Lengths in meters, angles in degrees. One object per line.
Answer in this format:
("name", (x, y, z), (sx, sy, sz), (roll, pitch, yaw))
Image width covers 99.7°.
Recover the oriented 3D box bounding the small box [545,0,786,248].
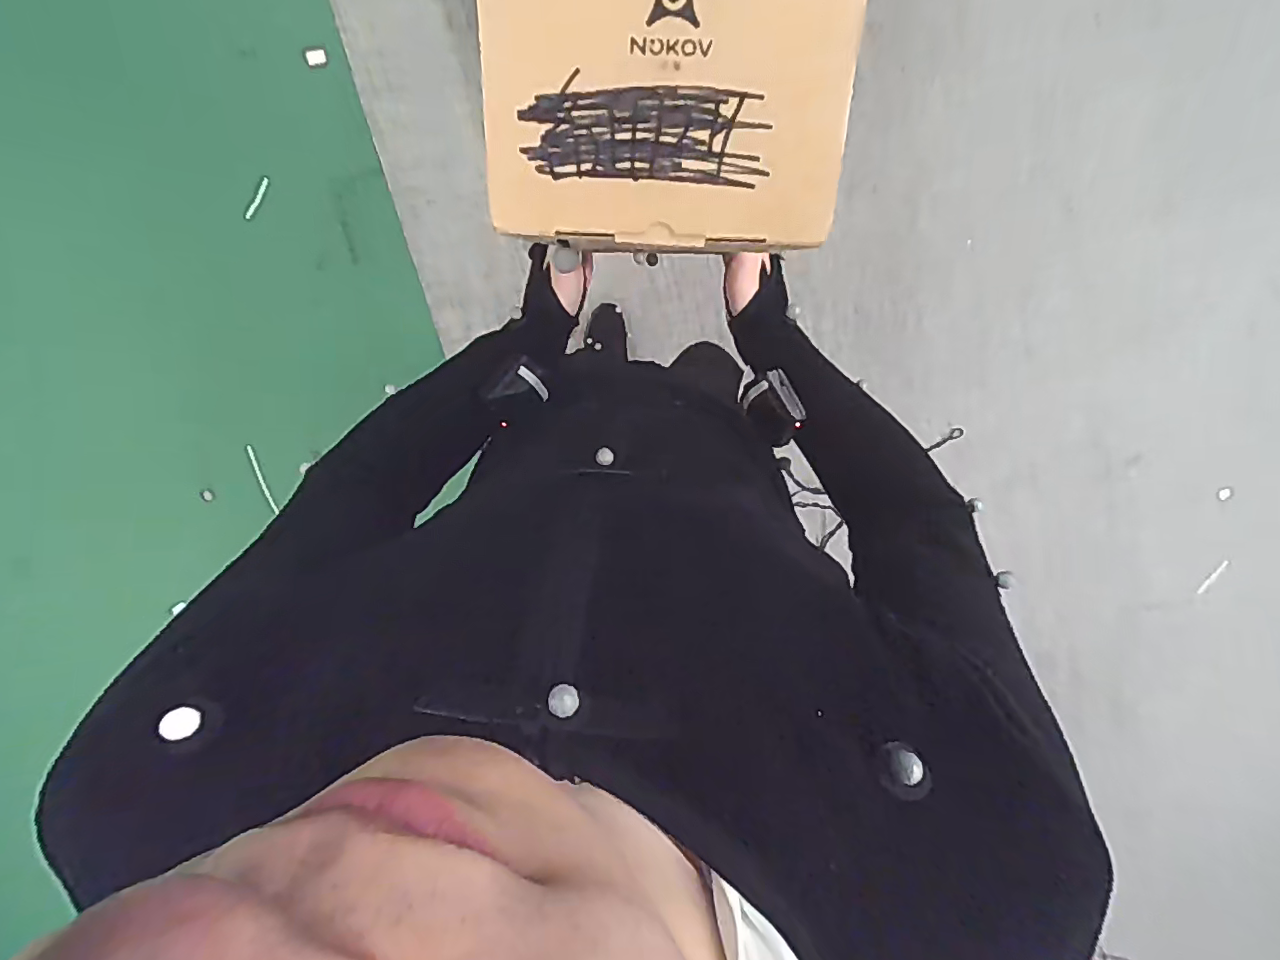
("small box", (0.015, -0.296, 0.458), (0.168, 0.176, 0.179), (1, 113, 0))
